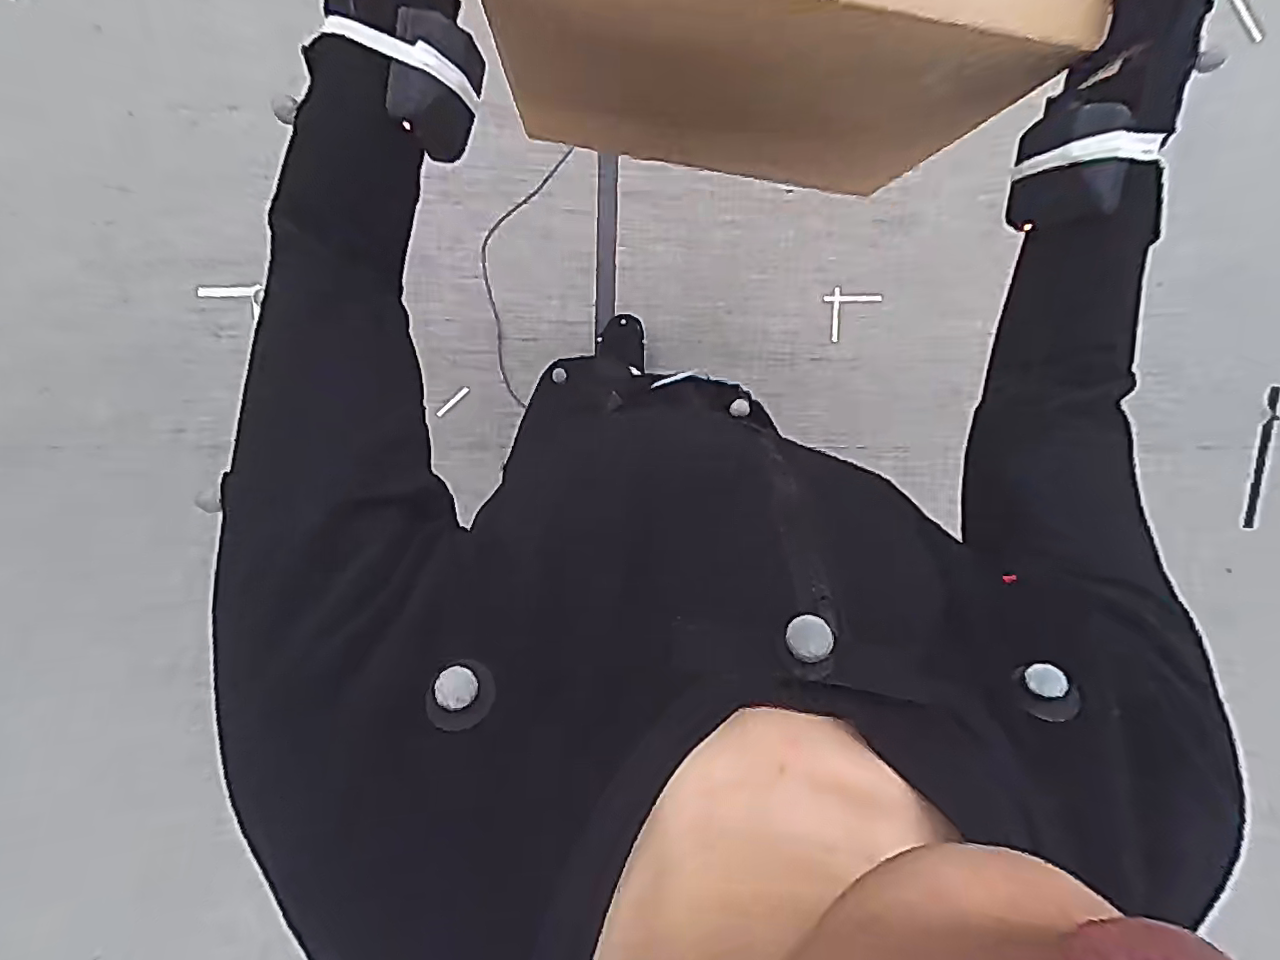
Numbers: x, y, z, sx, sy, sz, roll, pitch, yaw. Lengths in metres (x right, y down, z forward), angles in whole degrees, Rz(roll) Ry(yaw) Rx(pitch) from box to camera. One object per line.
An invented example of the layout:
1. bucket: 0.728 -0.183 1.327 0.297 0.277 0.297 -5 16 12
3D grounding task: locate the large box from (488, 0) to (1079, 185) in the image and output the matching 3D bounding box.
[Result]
1. large box: 0.094 -0.486 0.455 0.408 0.320 0.320 6 102 -6
